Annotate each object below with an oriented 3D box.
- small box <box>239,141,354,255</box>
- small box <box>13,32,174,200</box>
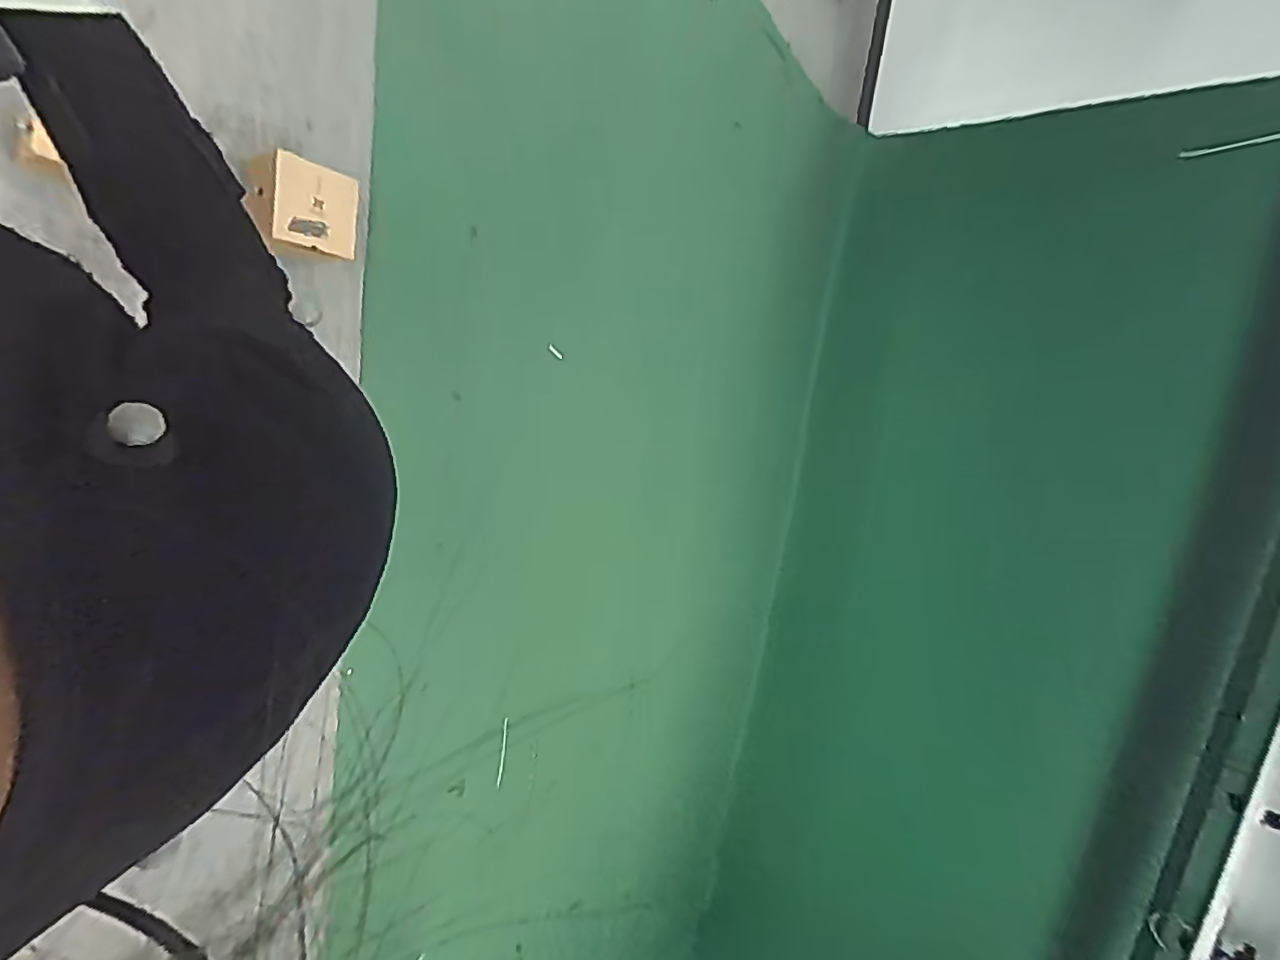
[{"bbox_3d":[-0.764,-0.612,1.200,0.168,0.176,0.179,-2,104,-53],"label":"small box"},{"bbox_3d":[-0.954,-0.617,0.943,0.168,0.176,0.179,6,98,-54],"label":"small box"}]
